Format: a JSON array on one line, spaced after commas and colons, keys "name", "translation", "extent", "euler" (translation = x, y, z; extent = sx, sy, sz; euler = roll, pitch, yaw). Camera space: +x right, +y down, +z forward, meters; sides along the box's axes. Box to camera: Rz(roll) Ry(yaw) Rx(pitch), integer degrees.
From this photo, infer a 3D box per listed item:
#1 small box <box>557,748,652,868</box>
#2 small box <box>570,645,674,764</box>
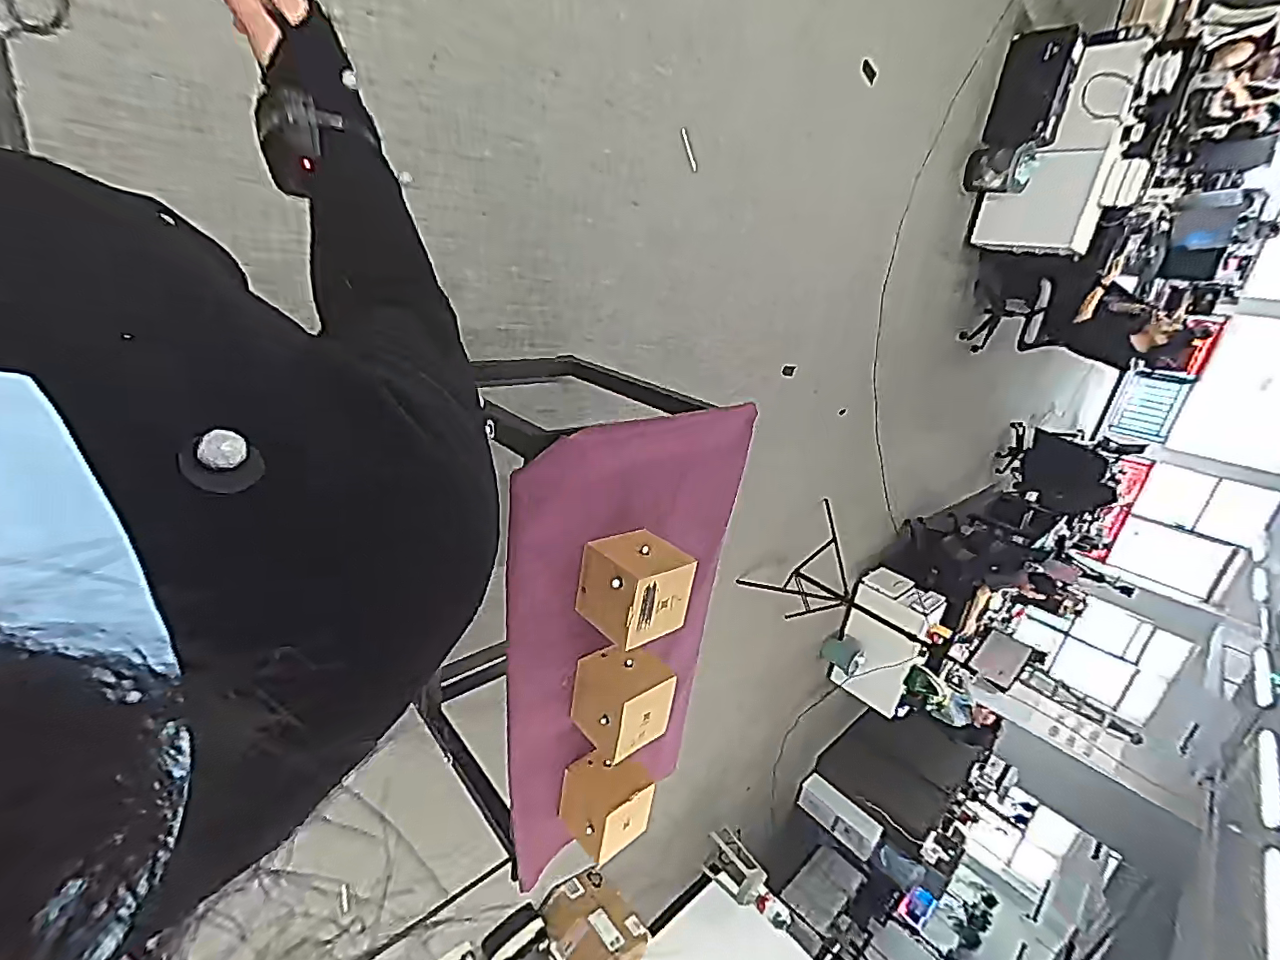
[{"name": "small box", "translation": [-0.096, 0.821, 1.382], "extent": [0.168, 0.176, 0.179], "euler": [-9, 116, -44]}, {"name": "small box", "translation": [-0.048, 0.510, 1.266], "extent": [0.168, 0.176, 0.179], "euler": [-8, 117, -42]}]
